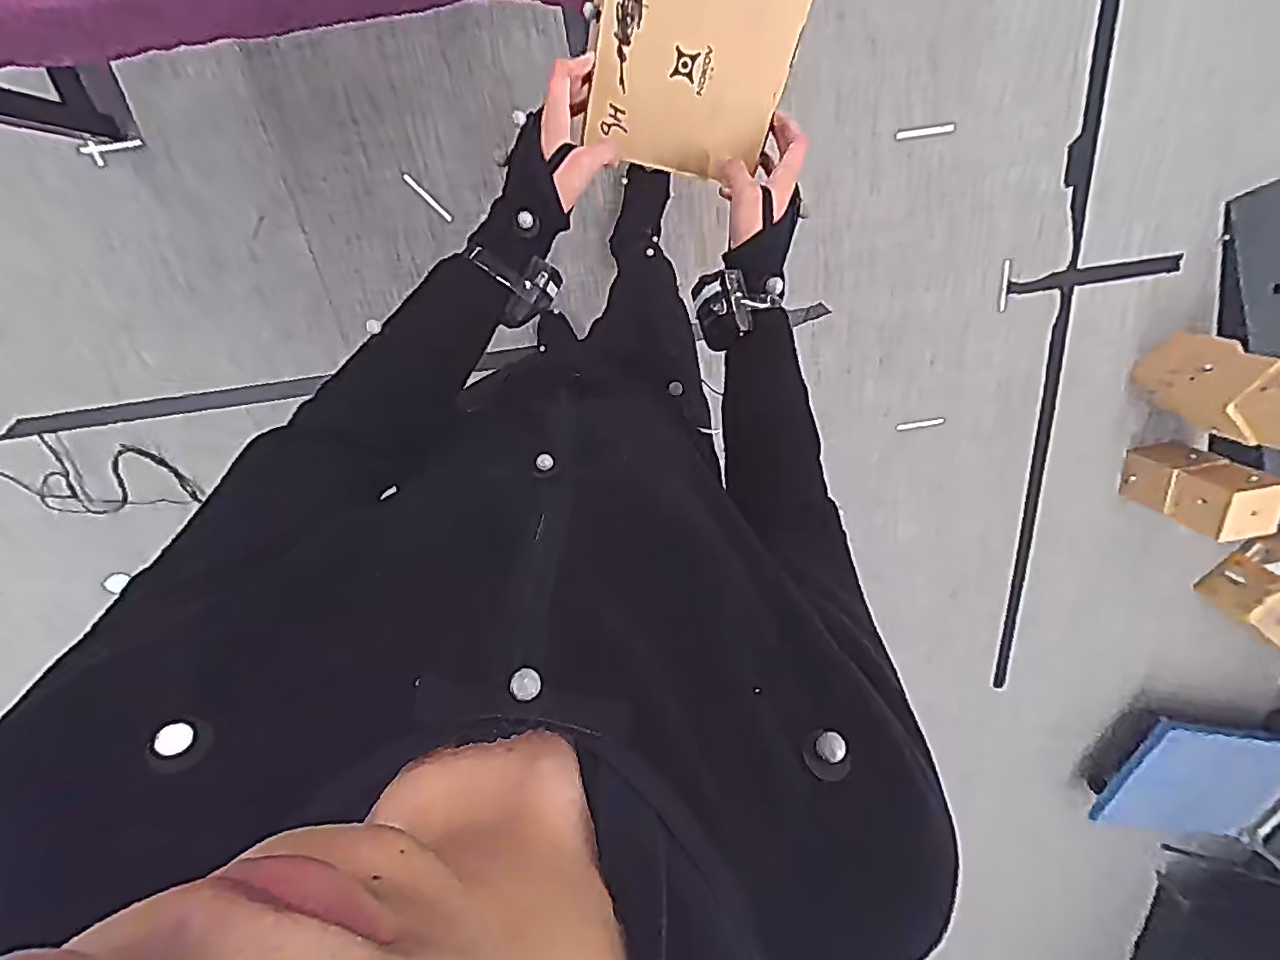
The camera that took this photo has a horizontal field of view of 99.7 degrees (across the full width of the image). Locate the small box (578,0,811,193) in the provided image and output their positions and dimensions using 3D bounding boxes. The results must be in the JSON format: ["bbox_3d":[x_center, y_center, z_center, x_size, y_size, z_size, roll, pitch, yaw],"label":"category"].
[{"bbox_3d":[0.037,-0.419,0.552,0.179,0.176,0.168,7,128,-14],"label":"small box"}]
